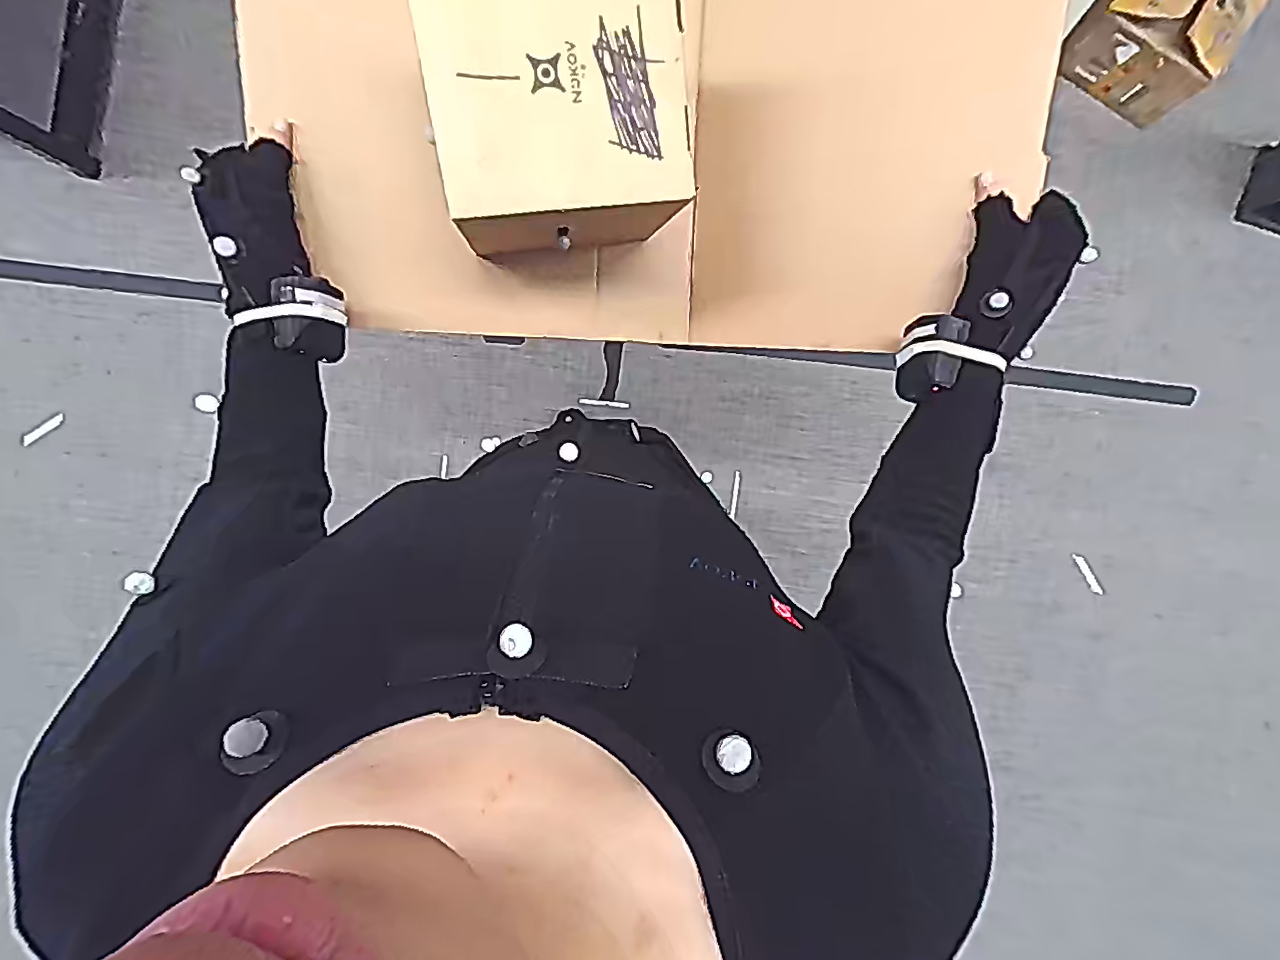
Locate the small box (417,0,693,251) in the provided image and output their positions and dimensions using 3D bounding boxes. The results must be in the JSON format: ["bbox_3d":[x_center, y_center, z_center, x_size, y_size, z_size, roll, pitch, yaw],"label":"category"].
[{"bbox_3d":[-0.068,-0.293,0.445,0.179,0.176,0.168,-9,106,-8],"label":"small box"}]
